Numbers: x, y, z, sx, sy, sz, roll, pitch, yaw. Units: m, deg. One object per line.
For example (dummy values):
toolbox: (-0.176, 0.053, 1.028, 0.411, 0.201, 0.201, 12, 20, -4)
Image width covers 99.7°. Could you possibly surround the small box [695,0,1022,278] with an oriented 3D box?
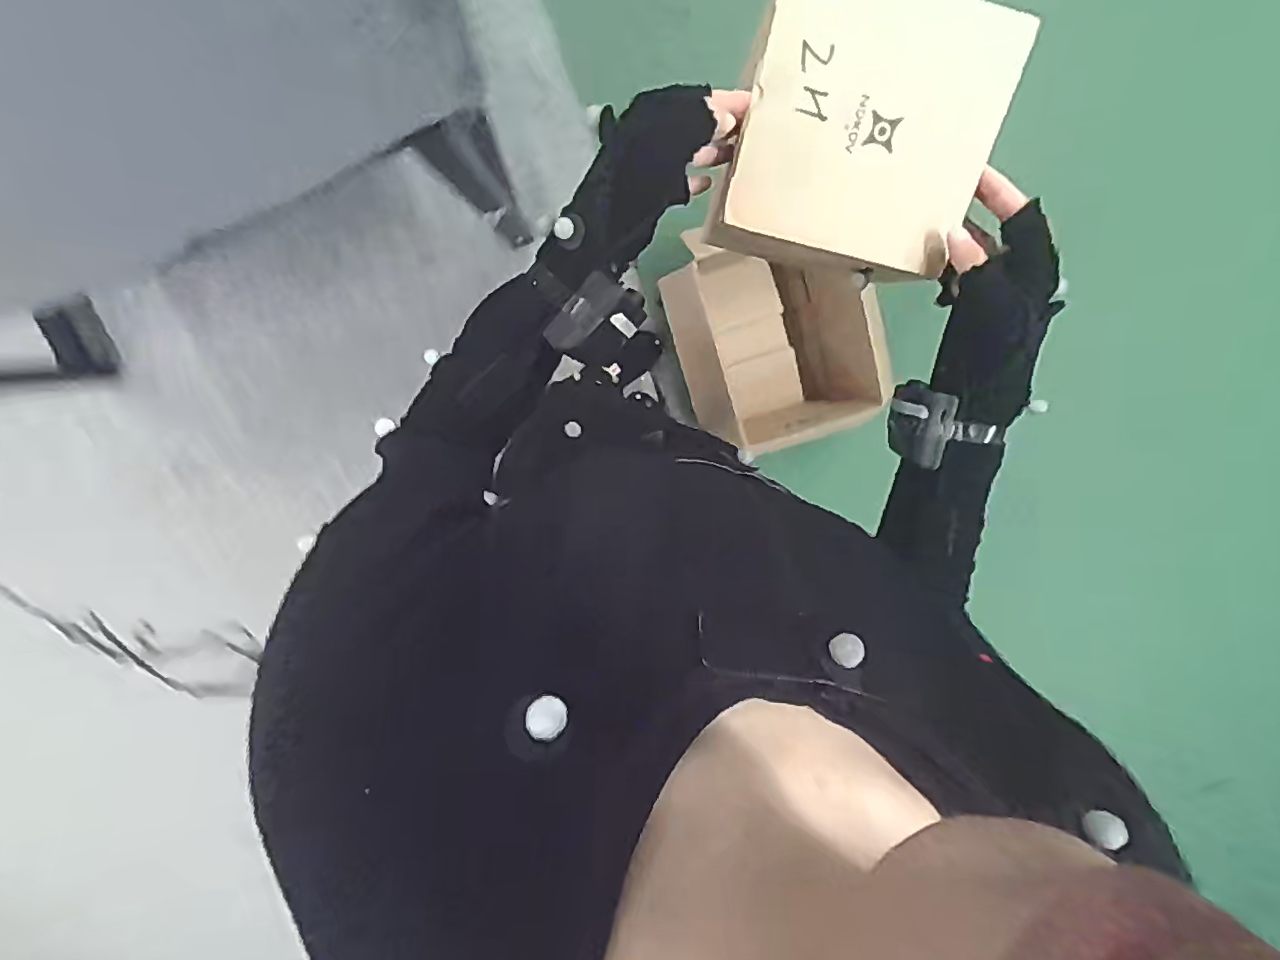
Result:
small box: (0.153, -0.273, 0.452, 0.179, 0.176, 0.168, 12, 109, -2)
